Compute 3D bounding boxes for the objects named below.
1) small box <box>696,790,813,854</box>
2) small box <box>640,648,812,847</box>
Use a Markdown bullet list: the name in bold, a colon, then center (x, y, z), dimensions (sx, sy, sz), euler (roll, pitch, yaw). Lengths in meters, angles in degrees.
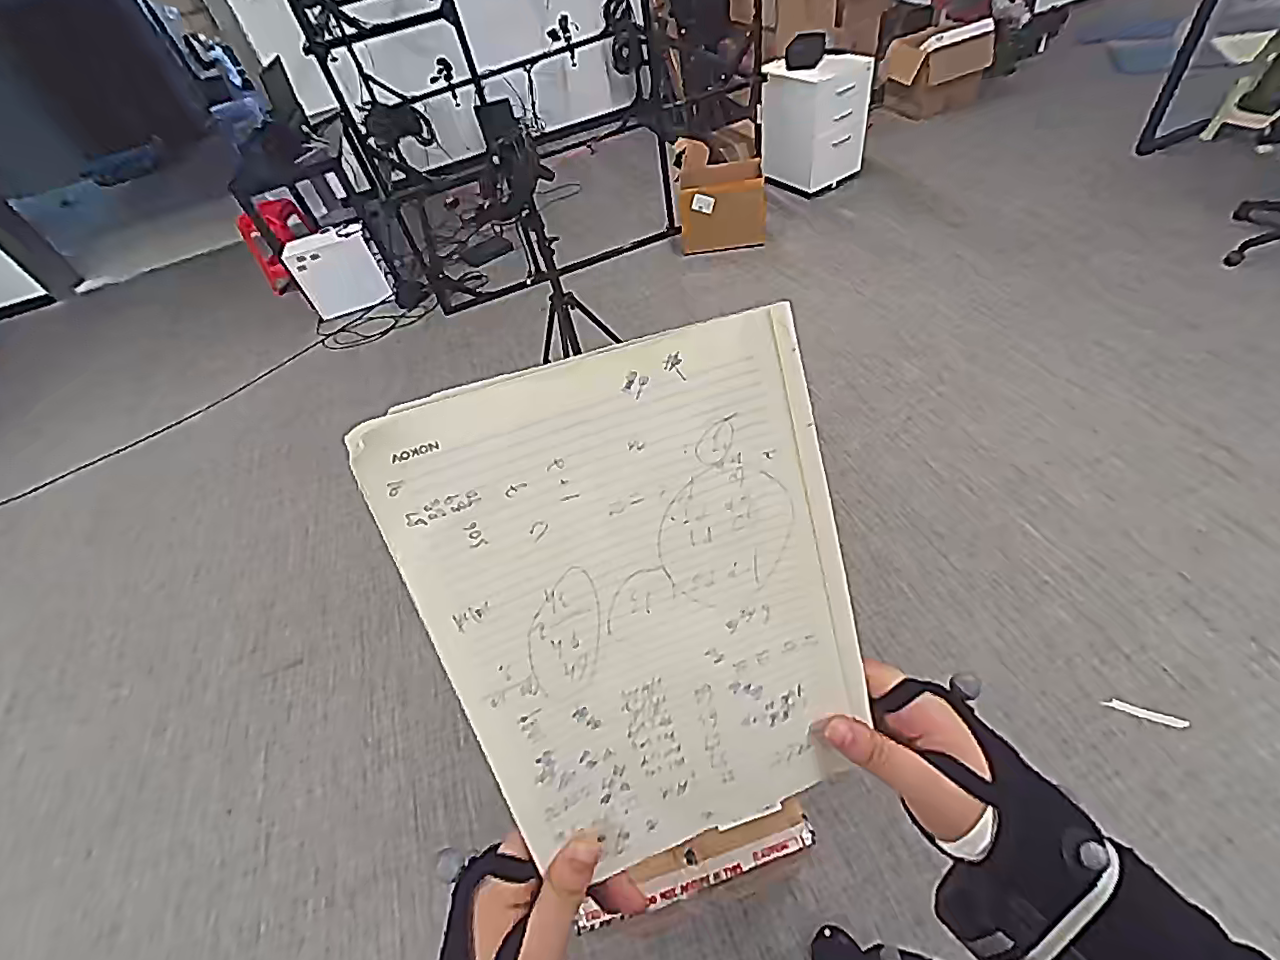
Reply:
- **small box**: center (0.143, 0.454, 0.842), dimensions (0.179, 0.176, 0.168), euler (-18, 49, -6)
- **small box**: center (0.104, 0.355, 0.715), dimensions (0.168, 0.176, 0.179), euler (-15, 50, -4)
